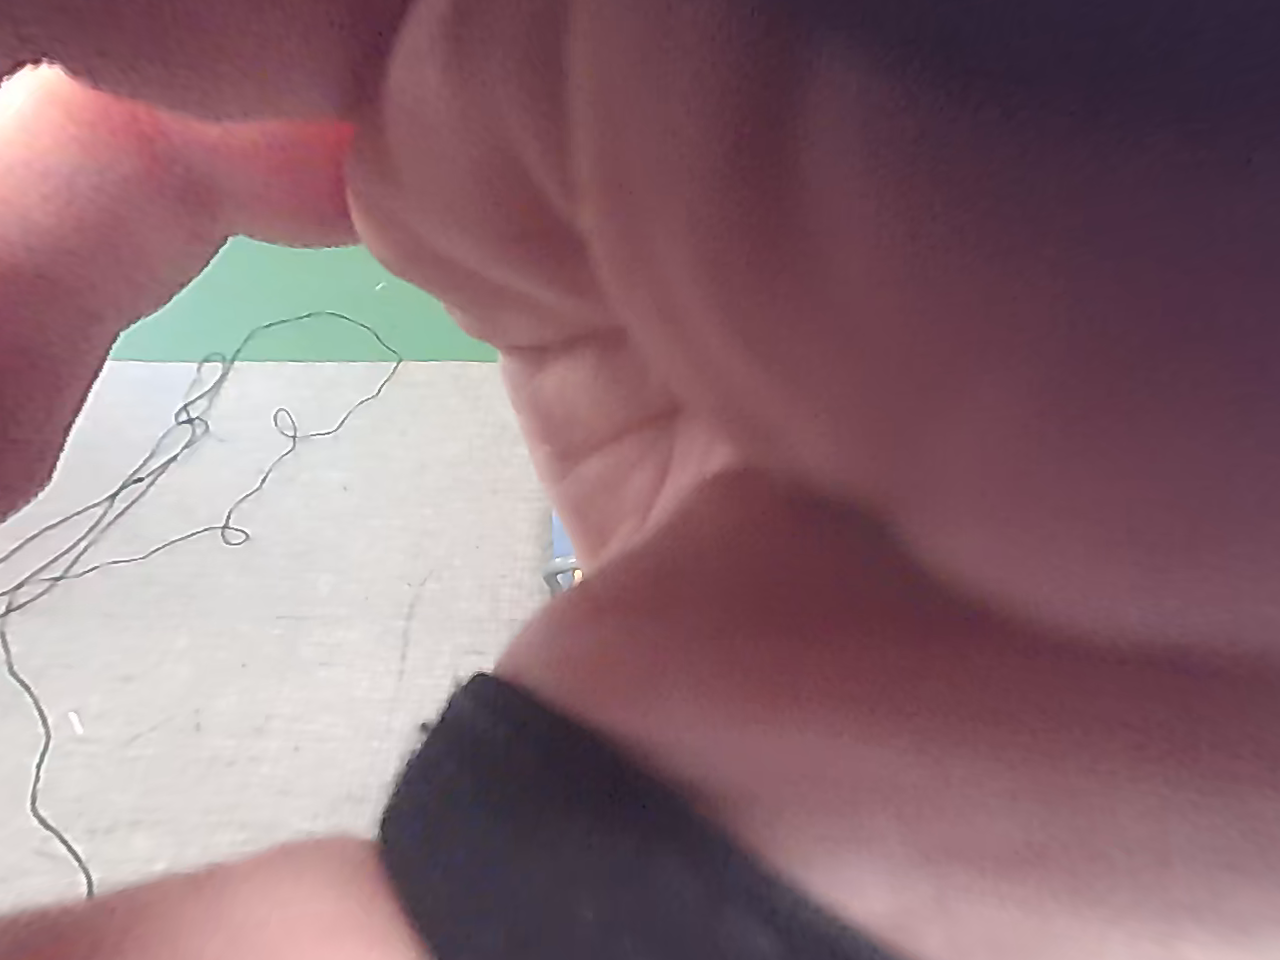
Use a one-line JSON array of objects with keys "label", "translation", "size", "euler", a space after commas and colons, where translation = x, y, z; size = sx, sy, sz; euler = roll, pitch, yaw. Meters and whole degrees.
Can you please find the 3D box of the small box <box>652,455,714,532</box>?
[{"label": "small box", "translation": [0.133, 0.044, 1.765], "size": [0.168, 0.176, 0.179], "euler": [-9, 52, -6]}]
